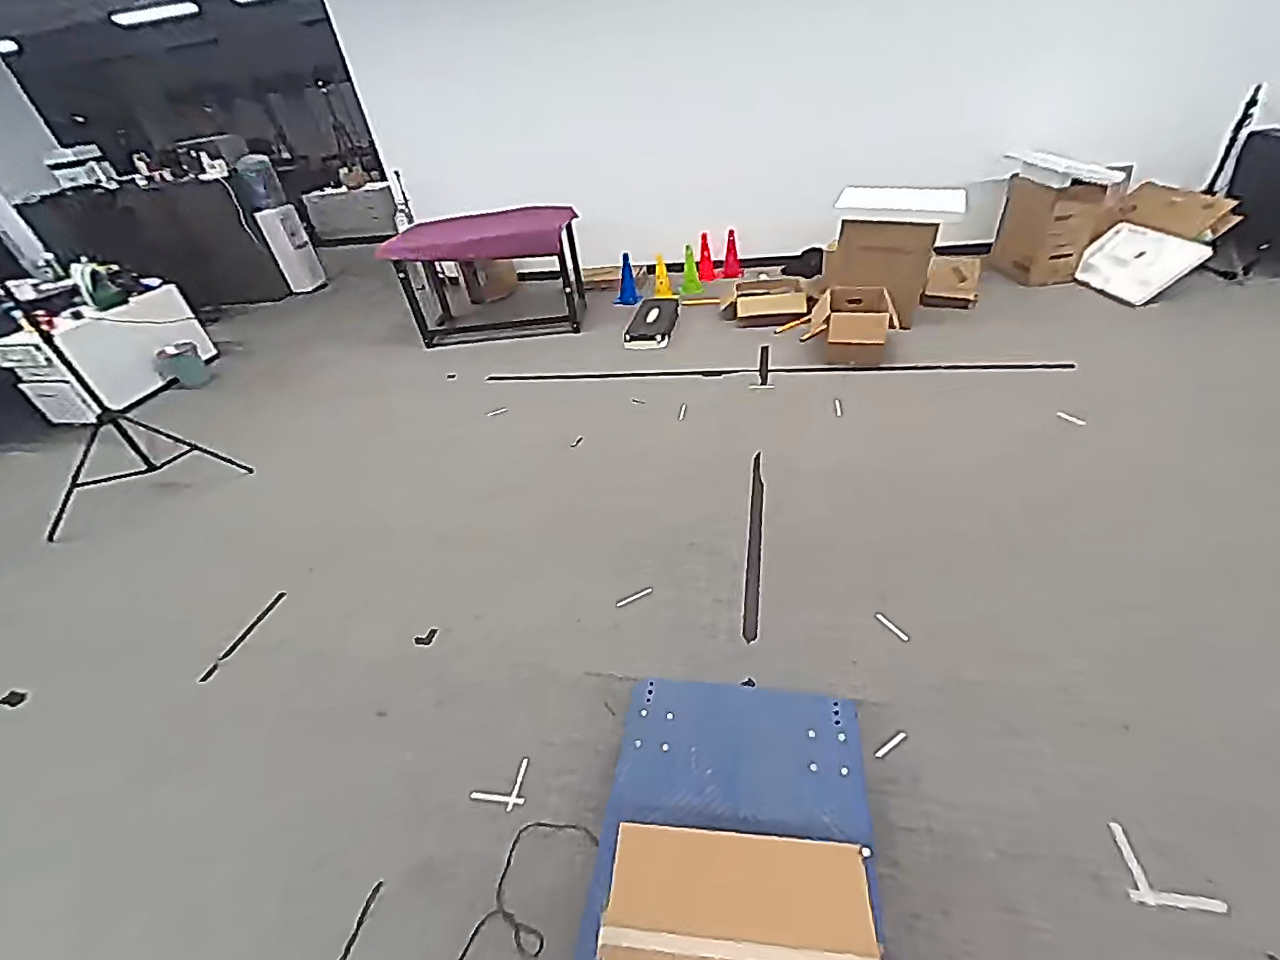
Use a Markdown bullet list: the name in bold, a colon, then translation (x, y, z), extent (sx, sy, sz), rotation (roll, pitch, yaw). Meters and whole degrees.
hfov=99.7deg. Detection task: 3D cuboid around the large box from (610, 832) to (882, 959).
- **large box**: translation (0.165, 0.823, 0.887), extent (0.408, 0.320, 0.320), rotation (0, 39, 9)
